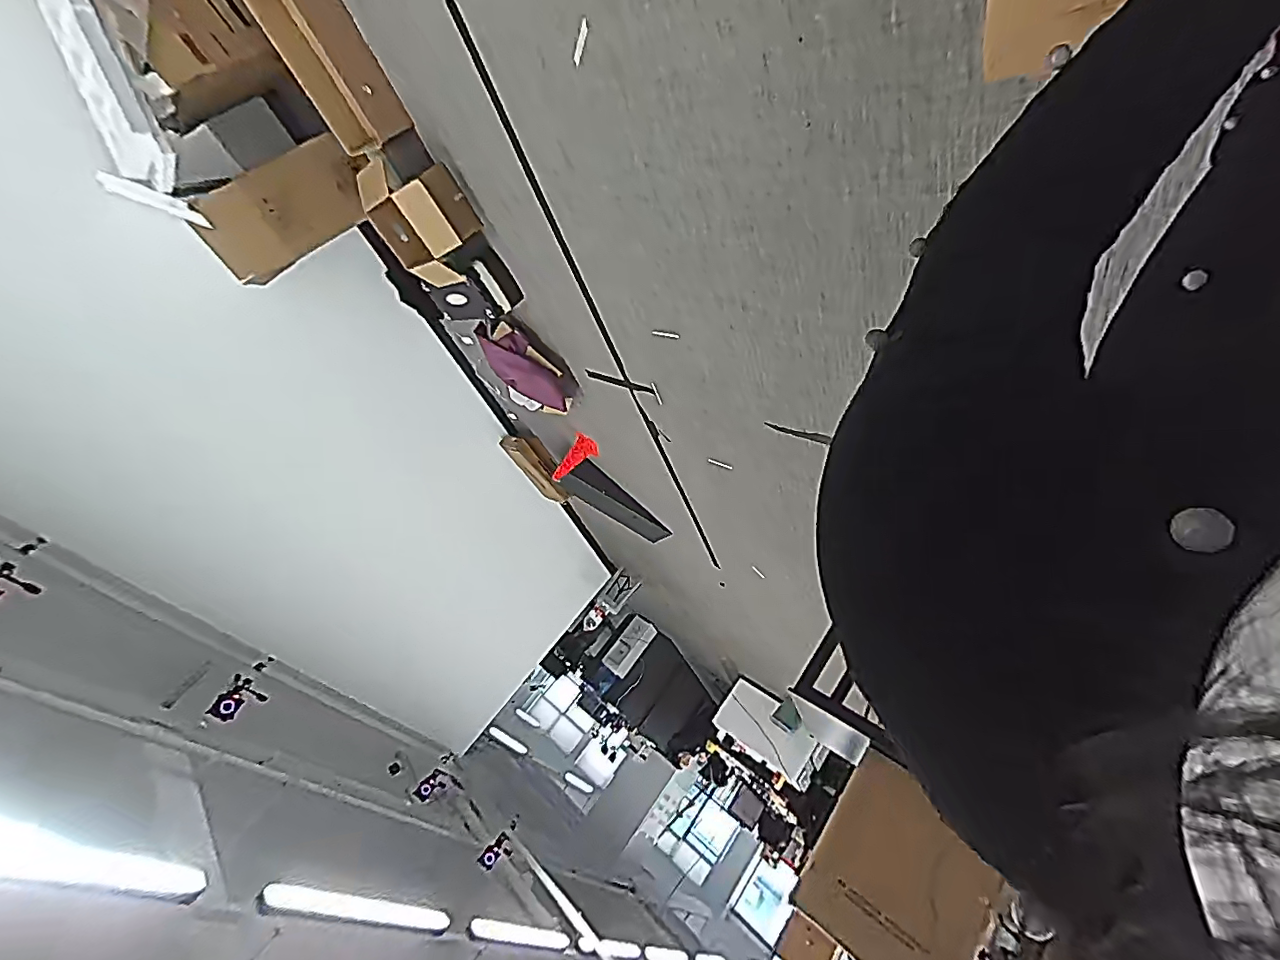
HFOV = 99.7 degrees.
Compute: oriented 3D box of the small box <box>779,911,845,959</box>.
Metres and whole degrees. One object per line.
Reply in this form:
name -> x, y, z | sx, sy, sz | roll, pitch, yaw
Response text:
small box -> 0.646, 1.751, 2.012 | 0.168, 0.176, 0.179 | 20, 154, 40
